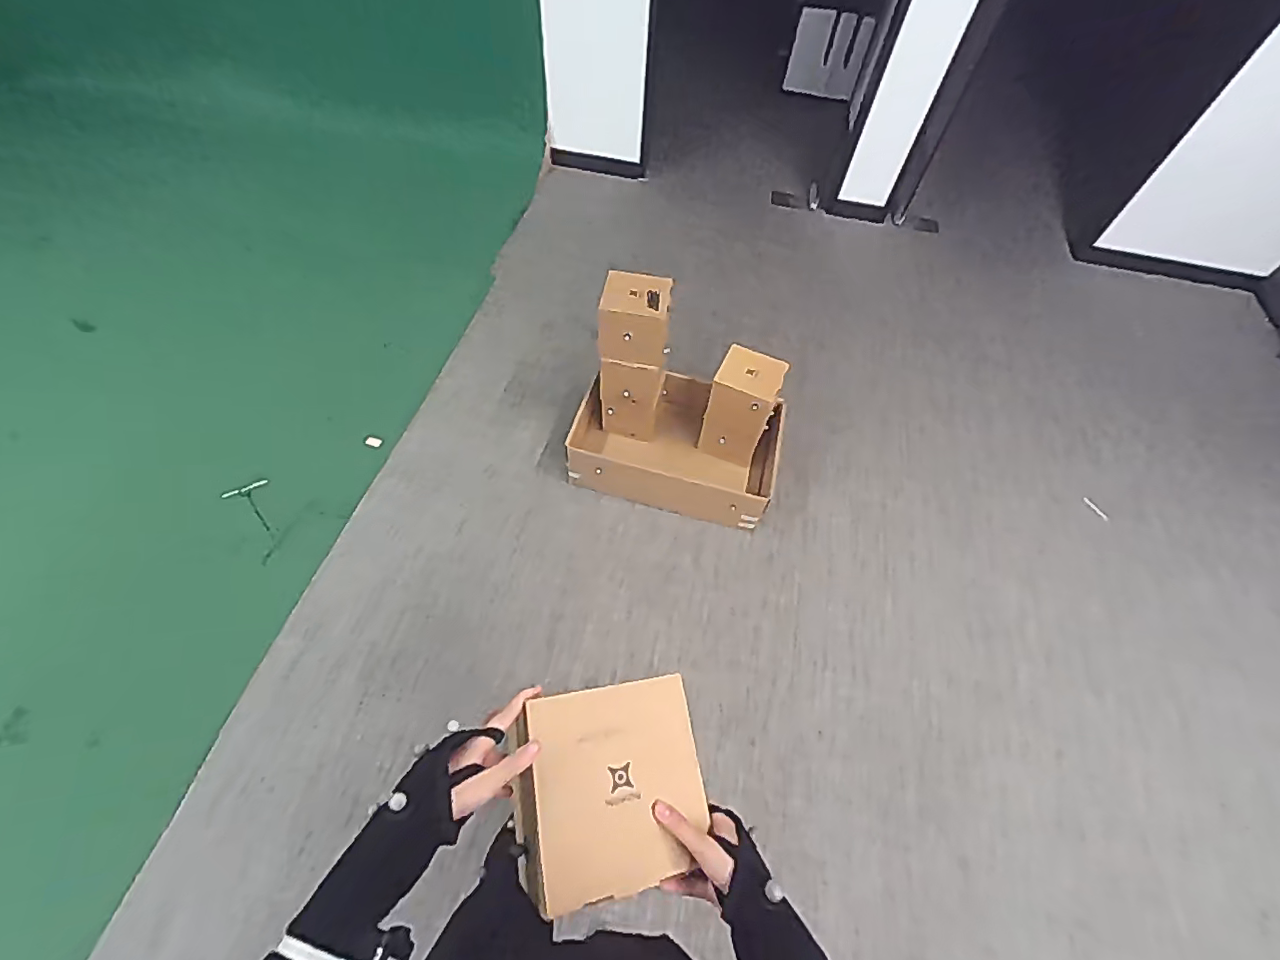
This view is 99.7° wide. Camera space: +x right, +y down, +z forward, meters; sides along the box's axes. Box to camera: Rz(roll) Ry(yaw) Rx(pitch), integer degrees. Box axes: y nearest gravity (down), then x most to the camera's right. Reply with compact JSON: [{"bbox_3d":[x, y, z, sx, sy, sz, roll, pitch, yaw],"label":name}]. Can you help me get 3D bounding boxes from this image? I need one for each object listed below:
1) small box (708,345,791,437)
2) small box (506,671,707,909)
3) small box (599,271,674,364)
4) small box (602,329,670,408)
[{"bbox_3d":[0.311,-0.253,1.571,0.179,0.176,0.168,24,60,11],"label":"small box"},{"bbox_3d":[-0.050,0.314,0.581,0.168,0.176,0.179,-1,65,-21],"label":"small box"},{"bbox_3d":[-0.009,-0.437,1.466,0.179,0.176,0.168,9,57,3],"label":"small box"},{"bbox_3d":[-0.013,-0.343,1.602,0.168,0.176,0.179,11,58,5],"label":"small box"}]
